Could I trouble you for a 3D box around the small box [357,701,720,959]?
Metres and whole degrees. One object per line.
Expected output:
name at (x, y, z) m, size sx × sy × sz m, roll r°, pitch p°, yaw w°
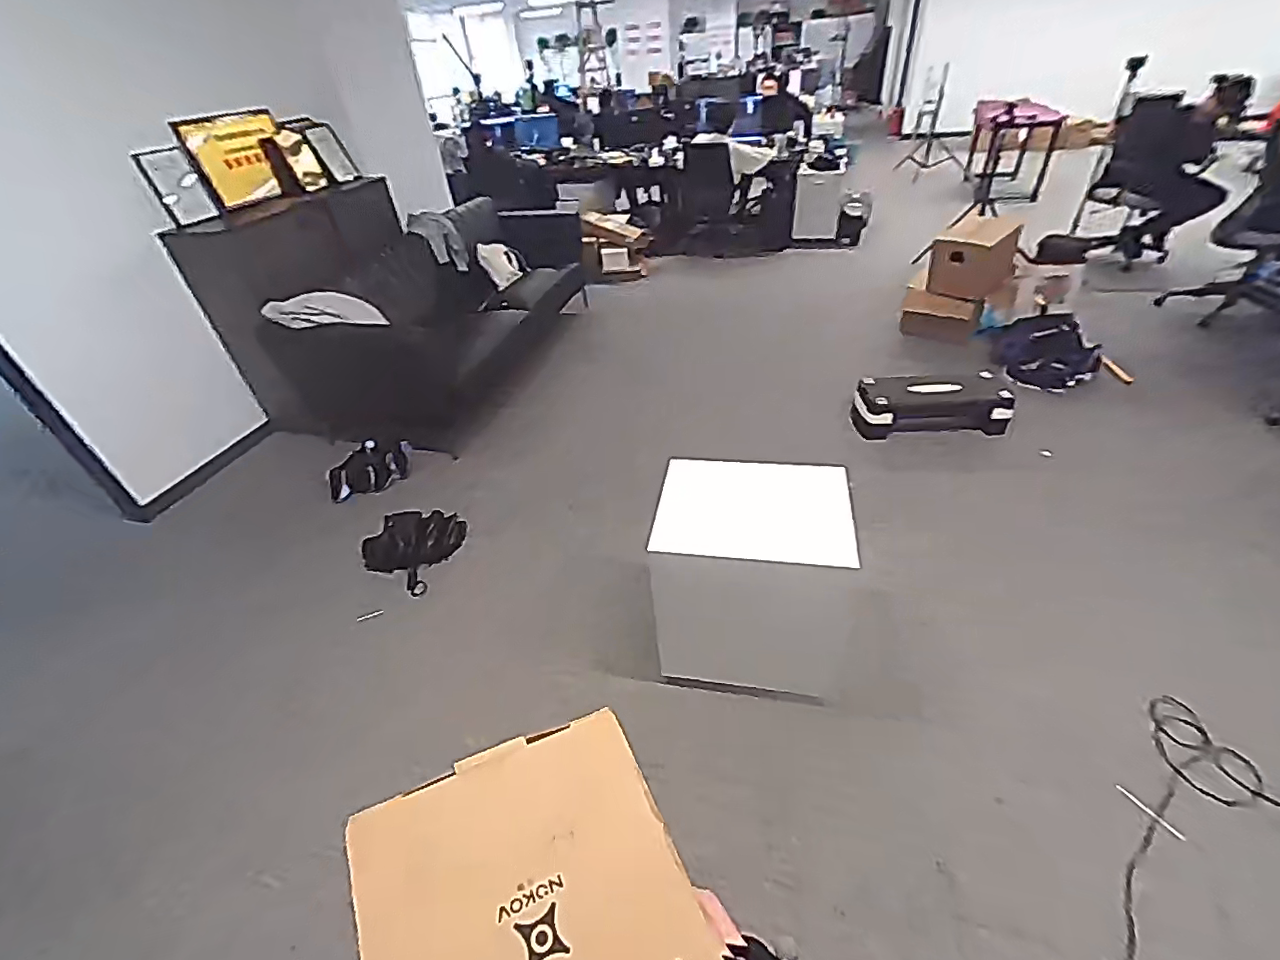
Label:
small box at (-0.071, 0.282, 0.348) m, size 0.168 × 0.176 × 0.179 m, roll -12°, pitch 51°, yaw -24°
